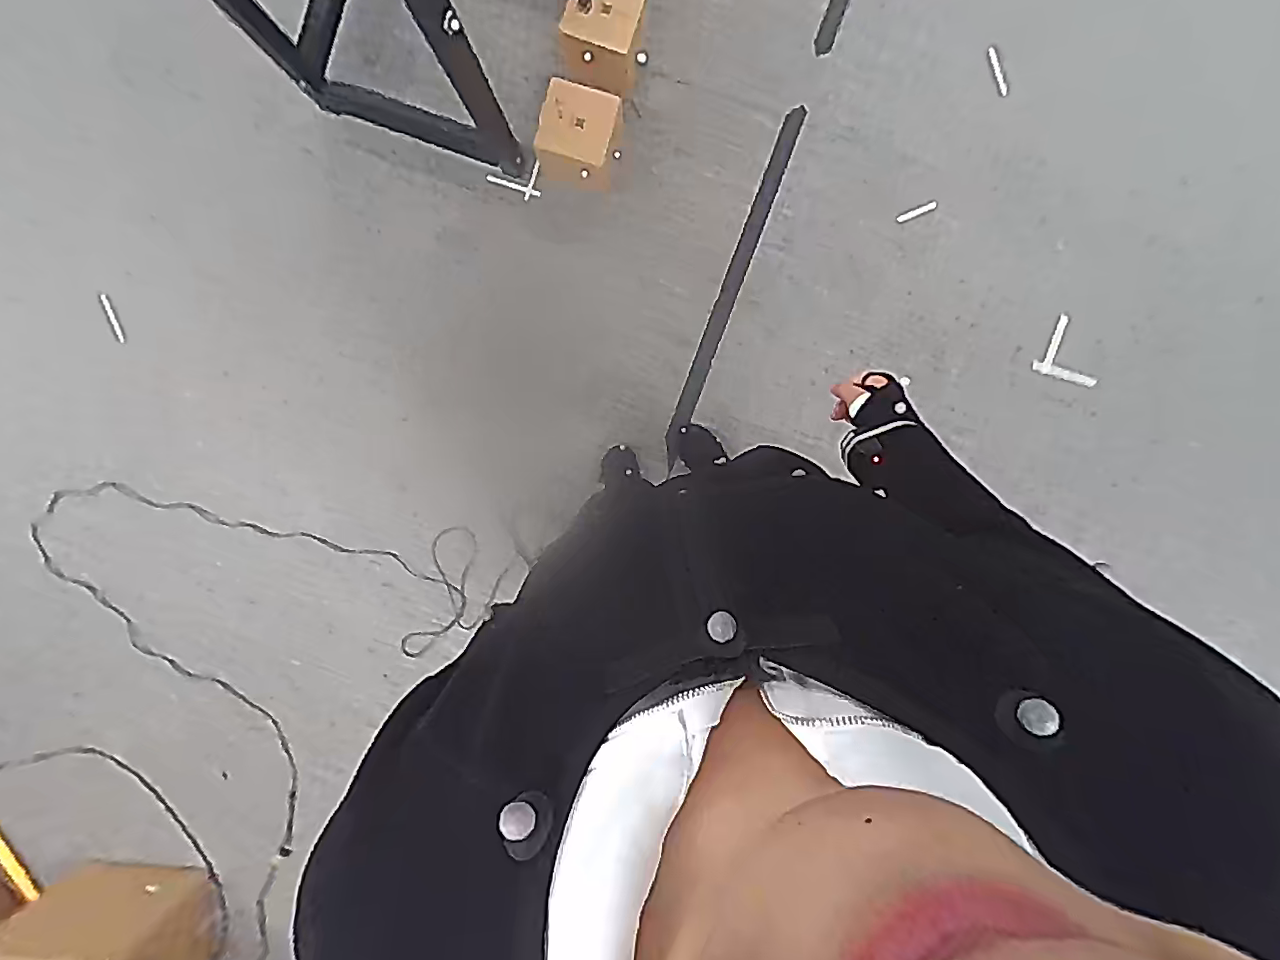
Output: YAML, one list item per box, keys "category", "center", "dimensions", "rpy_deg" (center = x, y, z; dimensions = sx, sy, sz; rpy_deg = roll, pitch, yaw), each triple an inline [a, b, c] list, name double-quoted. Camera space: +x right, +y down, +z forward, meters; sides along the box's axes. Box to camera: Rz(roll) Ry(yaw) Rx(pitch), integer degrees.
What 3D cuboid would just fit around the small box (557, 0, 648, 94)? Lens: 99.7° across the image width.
- category: "small box"
  center: [-0.088, -1.107, 1.339]
  dimensions: [0.179, 0.176, 0.168]
  rpy_deg: [19, 95, -1]
